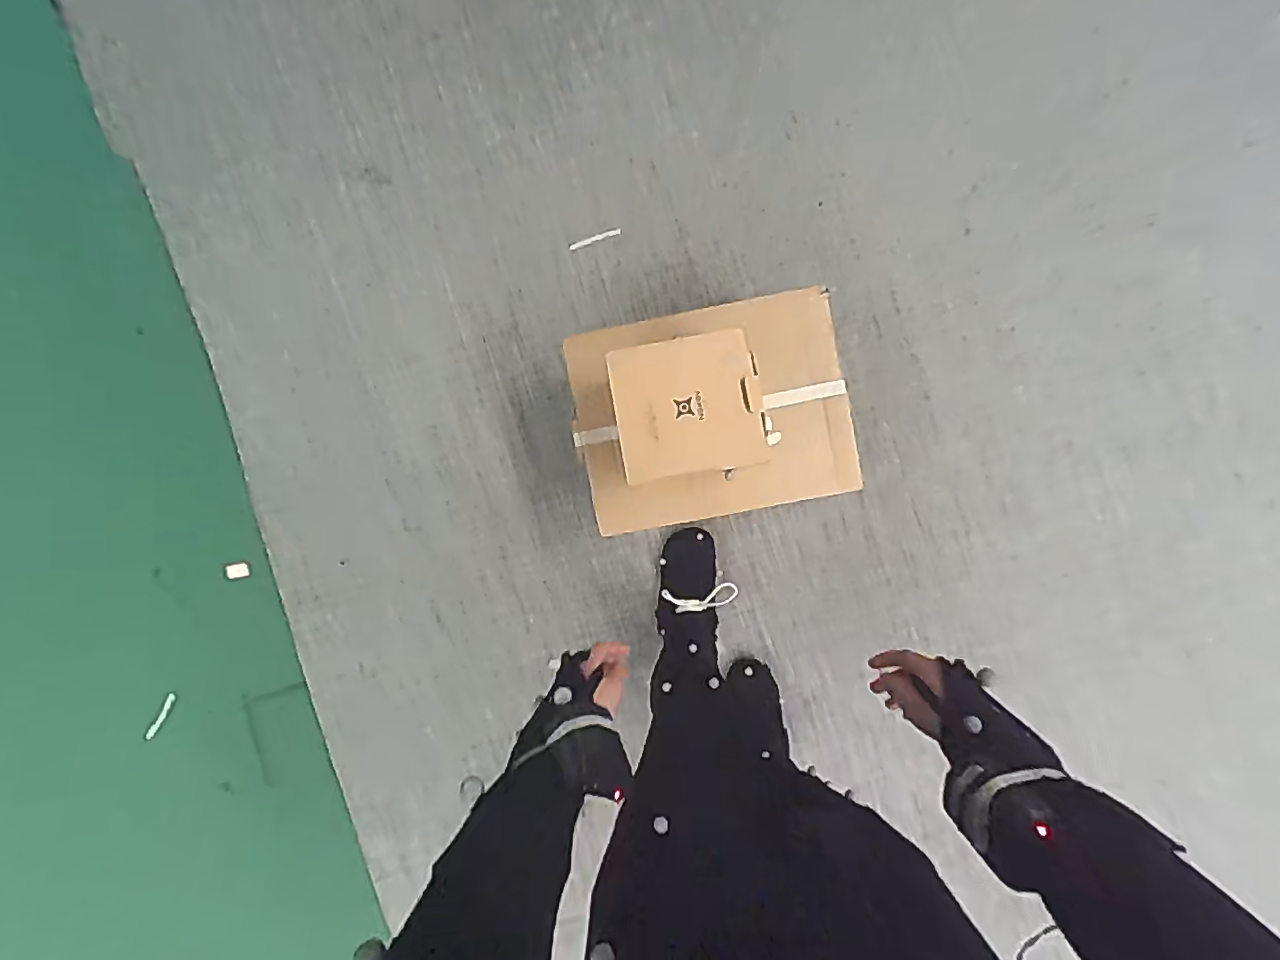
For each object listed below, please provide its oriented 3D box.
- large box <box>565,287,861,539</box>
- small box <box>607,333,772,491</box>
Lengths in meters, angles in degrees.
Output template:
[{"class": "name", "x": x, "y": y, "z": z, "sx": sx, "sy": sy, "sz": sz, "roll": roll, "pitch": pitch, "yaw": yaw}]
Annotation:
[{"class": "large box", "x": 0.112, "y": -0.101, "z": 0.961, "sx": 0.408, "sy": 0.320, "sz": 0.320, "roll": -11, "pitch": 92, "yaw": 2}, {"class": "small box", "x": 0.062, "y": -0.082, "z": 0.720, "sx": 0.179, "sy": 0.176, "sz": 0.168, "roll": -10, "pitch": 89, "yaw": 4}]
